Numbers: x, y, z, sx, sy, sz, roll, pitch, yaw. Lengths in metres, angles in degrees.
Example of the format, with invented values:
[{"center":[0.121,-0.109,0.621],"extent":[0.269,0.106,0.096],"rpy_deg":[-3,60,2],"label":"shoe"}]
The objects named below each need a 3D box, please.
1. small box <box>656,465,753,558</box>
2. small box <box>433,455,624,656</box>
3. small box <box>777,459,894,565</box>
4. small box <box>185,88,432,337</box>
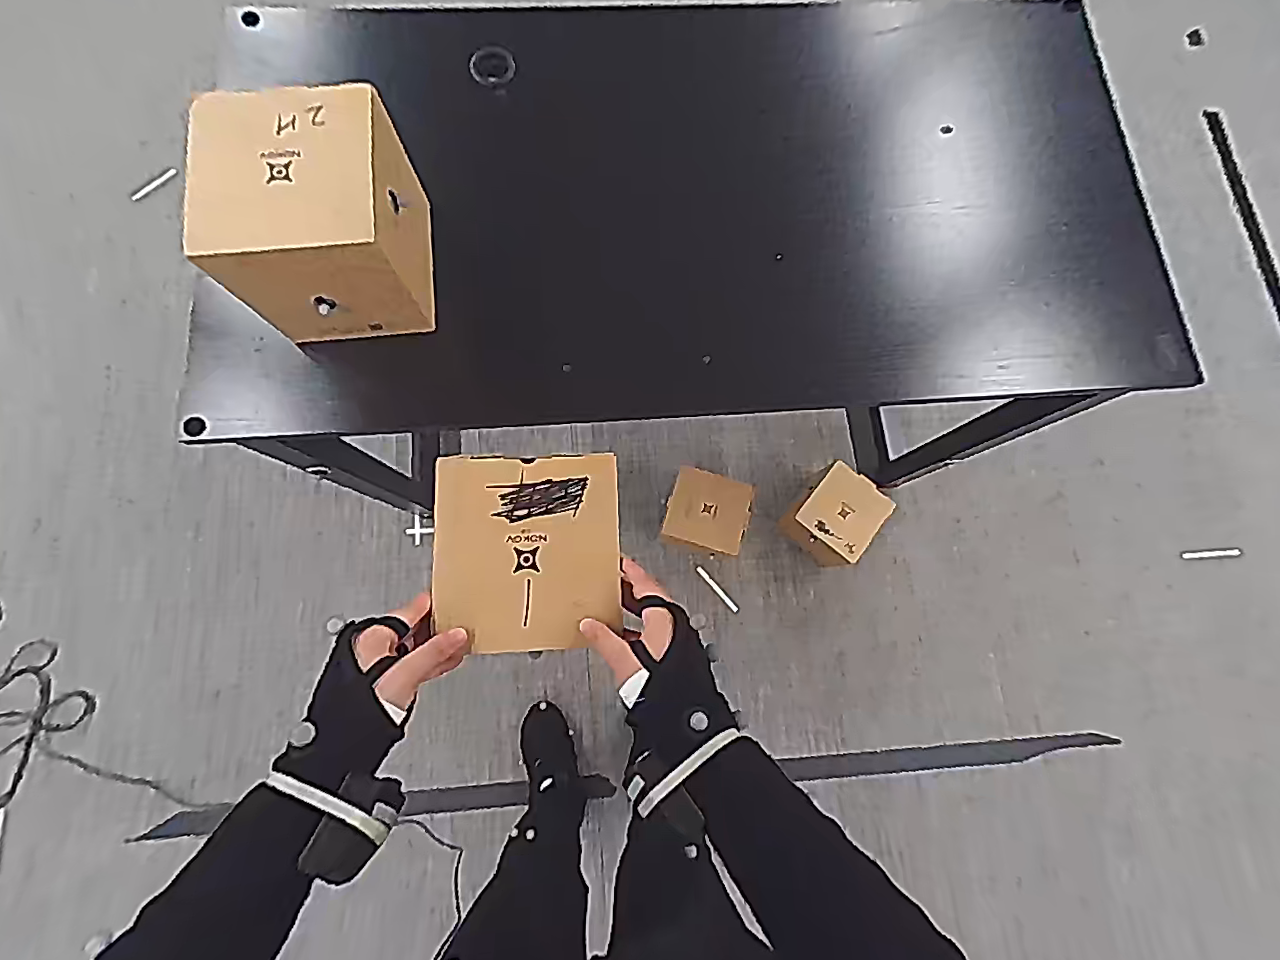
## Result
[{"center":[0.145,0.082,1.267],"extent":[0.179,0.176,0.168],"rpy_deg":[16,77,2],"label":"small box"},{"center":[-0.106,0.080,0.561],"extent":[0.168,0.176,0.179],"rpy_deg":[-2,79,-5],"label":"small box"},{"center":[0.449,0.082,1.276],"extent":[0.168,0.176,0.179],"rpy_deg":[39,79,6],"label":"small box"},{"center":[-0.330,-0.265,0.572],"extent":[0.168,0.176,0.179],"rpy_deg":[-6,78,-4],"label":"small box"}]
